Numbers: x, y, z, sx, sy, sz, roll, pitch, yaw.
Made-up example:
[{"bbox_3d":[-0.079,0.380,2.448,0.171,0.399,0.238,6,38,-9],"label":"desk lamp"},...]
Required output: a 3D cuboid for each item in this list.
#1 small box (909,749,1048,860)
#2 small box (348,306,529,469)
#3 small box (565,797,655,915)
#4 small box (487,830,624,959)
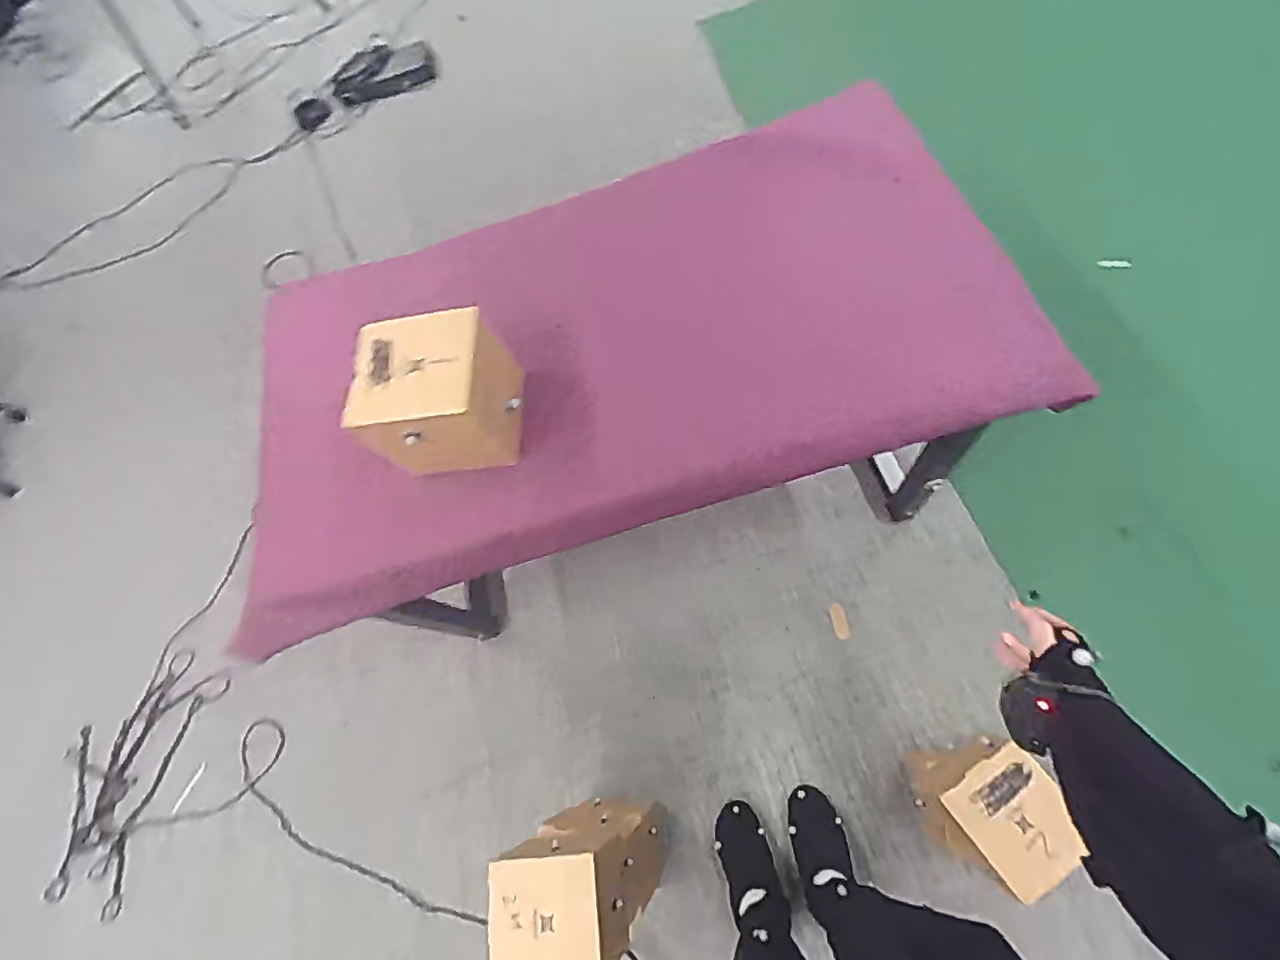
[{"bbox_3d":[0.654,0.638,1.076,0.179,0.176,0.168,-9,67,9],"label":"small box"},{"bbox_3d":[-0.281,-0.124,0.790,0.179,0.176,0.168,-5,68,9],"label":"small box"},{"bbox_3d":[-0.063,0.798,1.168,0.168,0.176,0.179,-3,68,12],"label":"small box"},{"bbox_3d":[-0.128,0.679,0.871,0.179,0.176,0.168,-10,65,9],"label":"small box"}]
